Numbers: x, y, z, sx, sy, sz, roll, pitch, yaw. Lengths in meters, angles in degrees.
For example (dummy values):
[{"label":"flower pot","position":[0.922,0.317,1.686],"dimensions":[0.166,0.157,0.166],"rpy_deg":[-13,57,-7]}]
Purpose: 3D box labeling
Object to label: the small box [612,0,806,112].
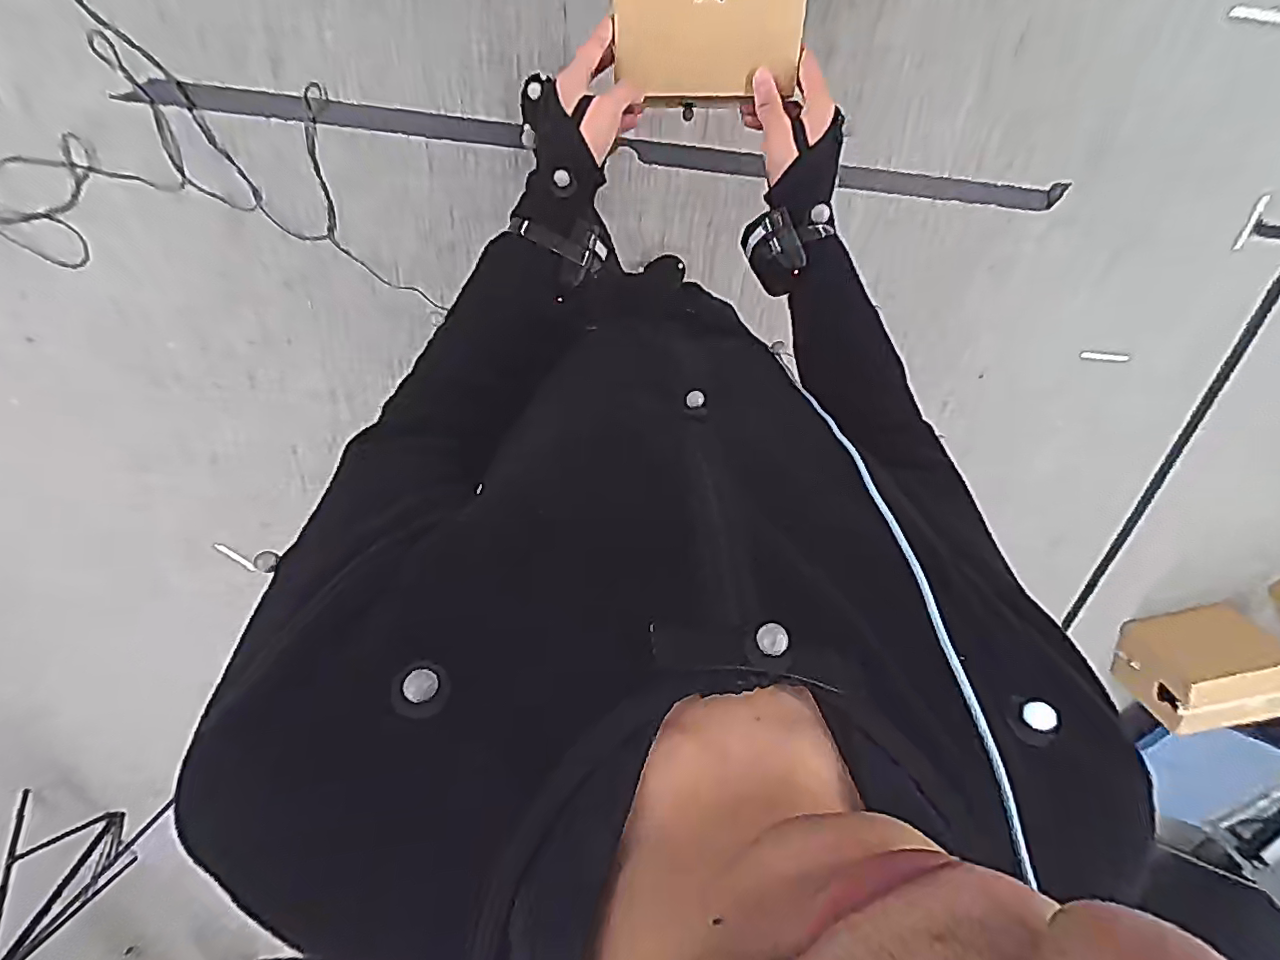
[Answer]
[{"label":"small box","position":[0.057,-0.458,0.511],"dimensions":[0.168,0.176,0.179],"rpy_deg":[-1,121,-2]}]
